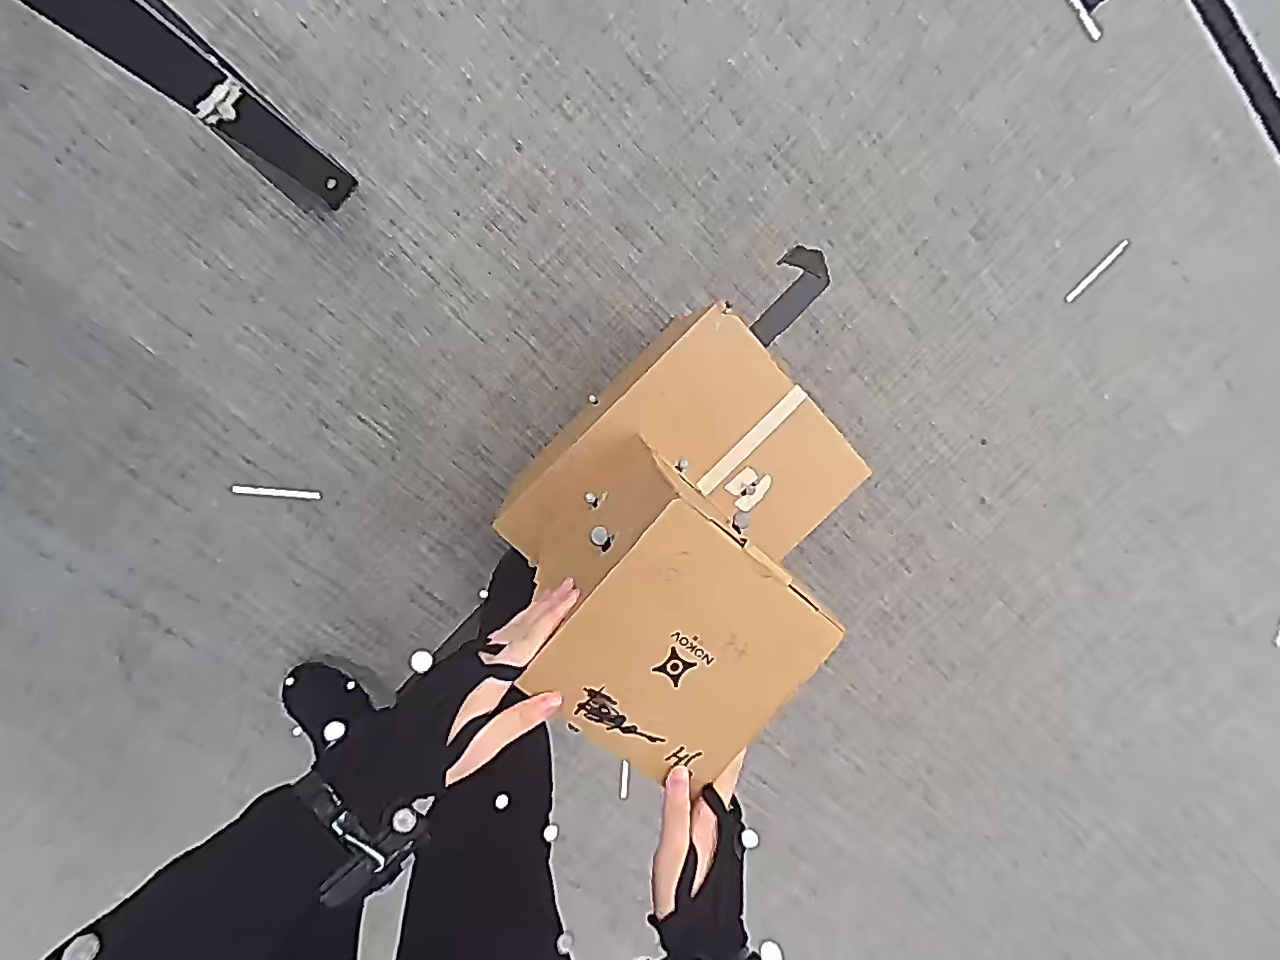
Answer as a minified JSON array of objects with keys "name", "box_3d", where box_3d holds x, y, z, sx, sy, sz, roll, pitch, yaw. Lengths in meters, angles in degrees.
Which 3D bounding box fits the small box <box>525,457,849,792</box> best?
[{"name":"small box","box_3d":[0.026,0.100,0.453,0.168,0.176,0.179,40,95,-11]}]

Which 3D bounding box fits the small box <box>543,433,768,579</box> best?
[{"name":"small box","box_3d":[0.010,0.065,0.612,0.168,0.176,0.179,44,95,-12]}]

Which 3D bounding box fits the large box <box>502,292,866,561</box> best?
[{"name":"large box","box_3d":[0.046,-0.017,0.850,0.408,0.320,0.320,-45,104,3]}]
